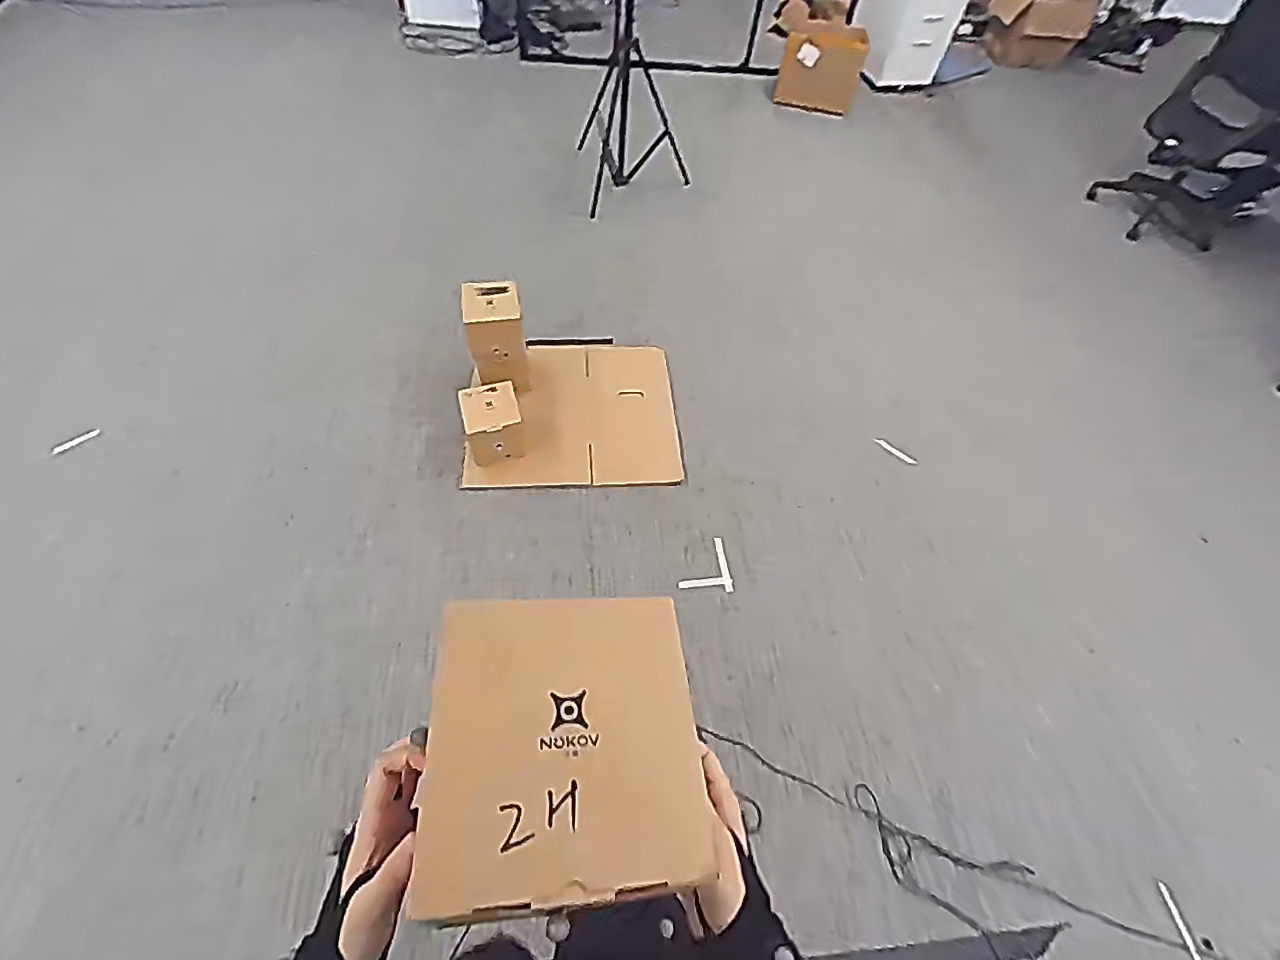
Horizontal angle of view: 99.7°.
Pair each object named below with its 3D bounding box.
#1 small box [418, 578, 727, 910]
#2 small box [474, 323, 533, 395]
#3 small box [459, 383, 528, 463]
[{"bbox_3d":[-0.055,0.189,0.395,0.168,0.176,0.179,0,50,-12],"label":"small box"},{"bbox_3d":[-0.463,-0.405,1.838,0.168,0.176,0.179,-10,59,-11],"label":"small box"},{"bbox_3d":[-0.453,-0.170,1.683,0.168,0.176,0.179,-13,60,-14],"label":"small box"}]
